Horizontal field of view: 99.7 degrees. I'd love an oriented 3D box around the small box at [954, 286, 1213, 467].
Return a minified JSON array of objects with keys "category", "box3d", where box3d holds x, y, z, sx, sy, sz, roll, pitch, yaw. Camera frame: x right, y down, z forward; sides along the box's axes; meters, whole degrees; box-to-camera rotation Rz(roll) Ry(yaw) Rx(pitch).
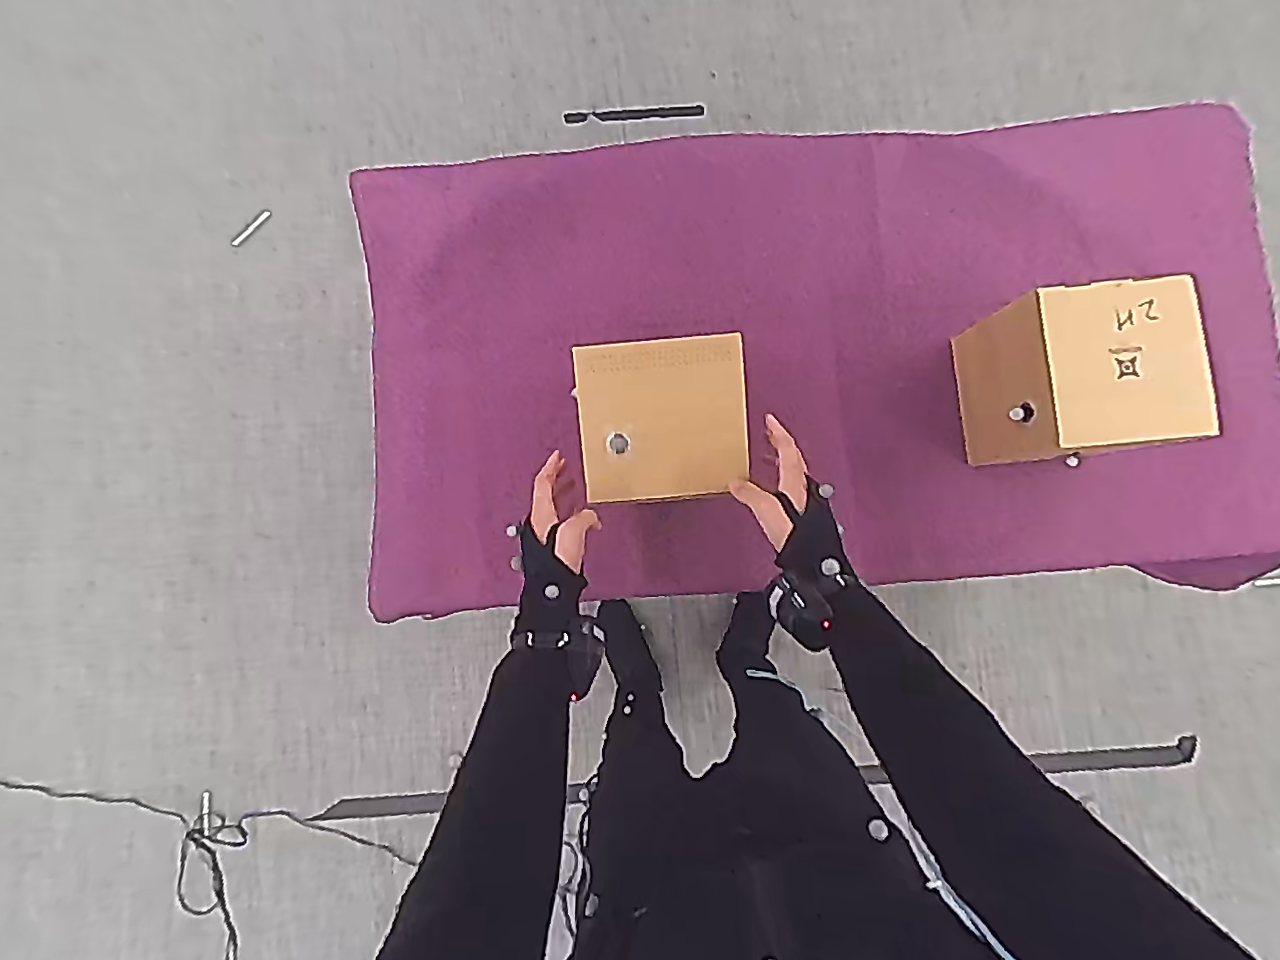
[{"category":"small box","box3d":[0.510,-0.110,0.650,0.168,0.176,0.179,-4,85,1]}]
